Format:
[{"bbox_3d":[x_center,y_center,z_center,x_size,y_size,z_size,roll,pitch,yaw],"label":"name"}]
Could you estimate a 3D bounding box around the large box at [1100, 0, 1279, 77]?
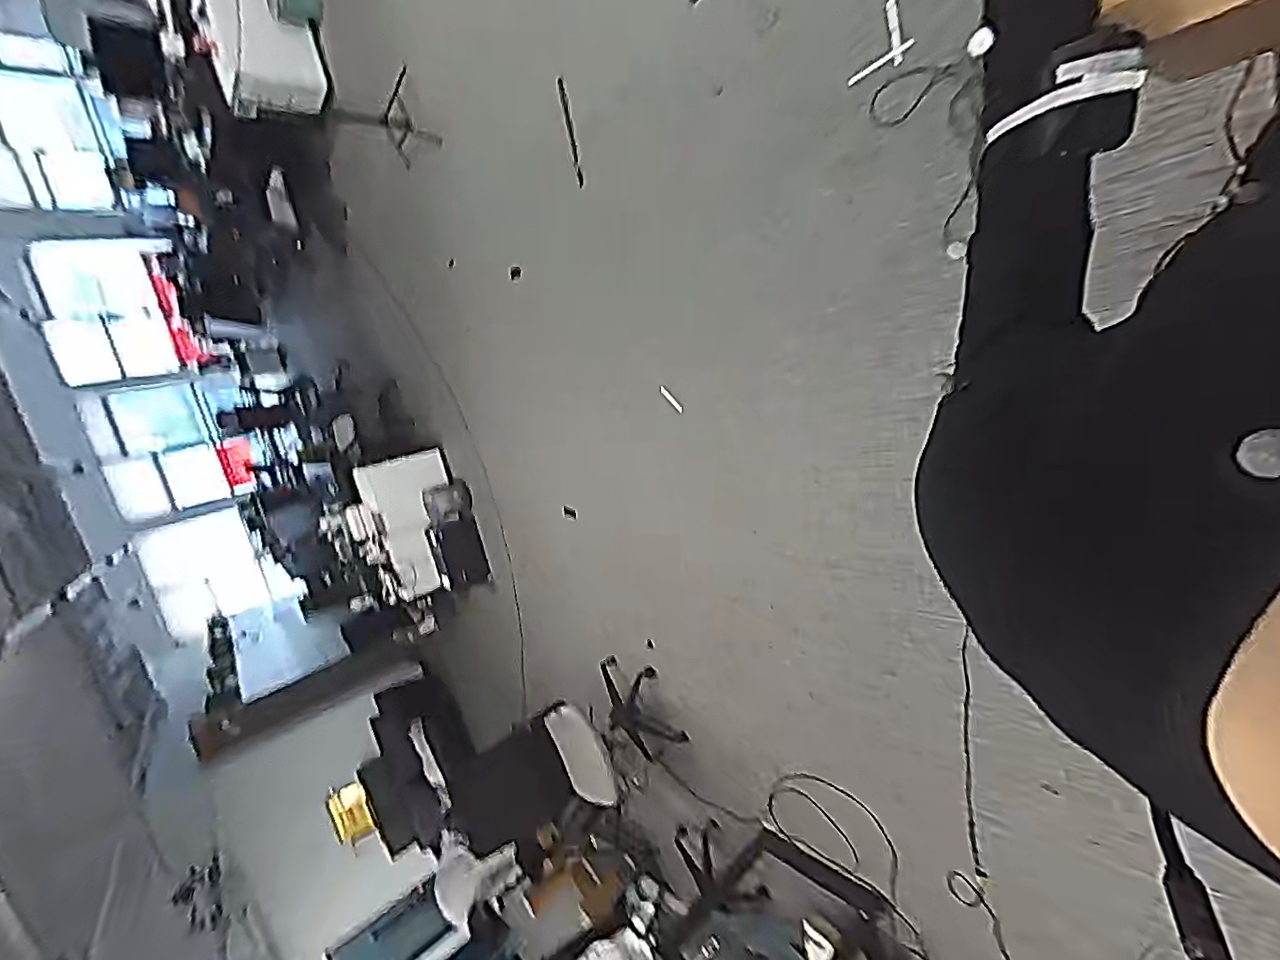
[{"bbox_3d":[0.510,-0.483,0.268,0.408,0.320,0.320,4,115,51],"label":"large box"}]
